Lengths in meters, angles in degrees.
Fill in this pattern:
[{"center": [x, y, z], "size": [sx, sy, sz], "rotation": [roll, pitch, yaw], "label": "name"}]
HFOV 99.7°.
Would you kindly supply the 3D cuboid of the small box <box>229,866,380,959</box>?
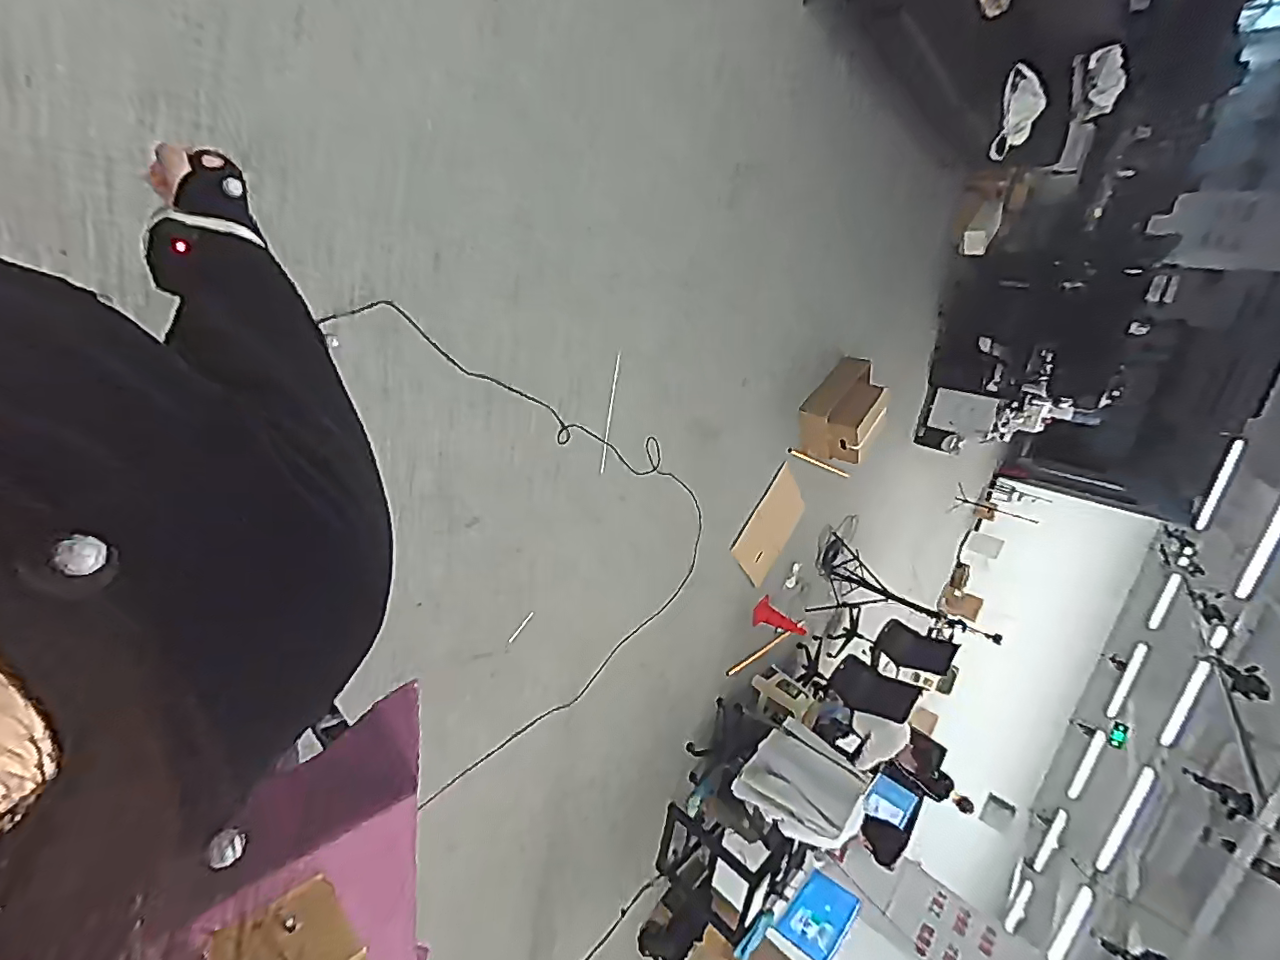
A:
[{"center": [-0.534, 0.780, 0.864], "size": [0.168, 0.176, 0.179], "rotation": [-11, 115, -47], "label": "small box"}]
